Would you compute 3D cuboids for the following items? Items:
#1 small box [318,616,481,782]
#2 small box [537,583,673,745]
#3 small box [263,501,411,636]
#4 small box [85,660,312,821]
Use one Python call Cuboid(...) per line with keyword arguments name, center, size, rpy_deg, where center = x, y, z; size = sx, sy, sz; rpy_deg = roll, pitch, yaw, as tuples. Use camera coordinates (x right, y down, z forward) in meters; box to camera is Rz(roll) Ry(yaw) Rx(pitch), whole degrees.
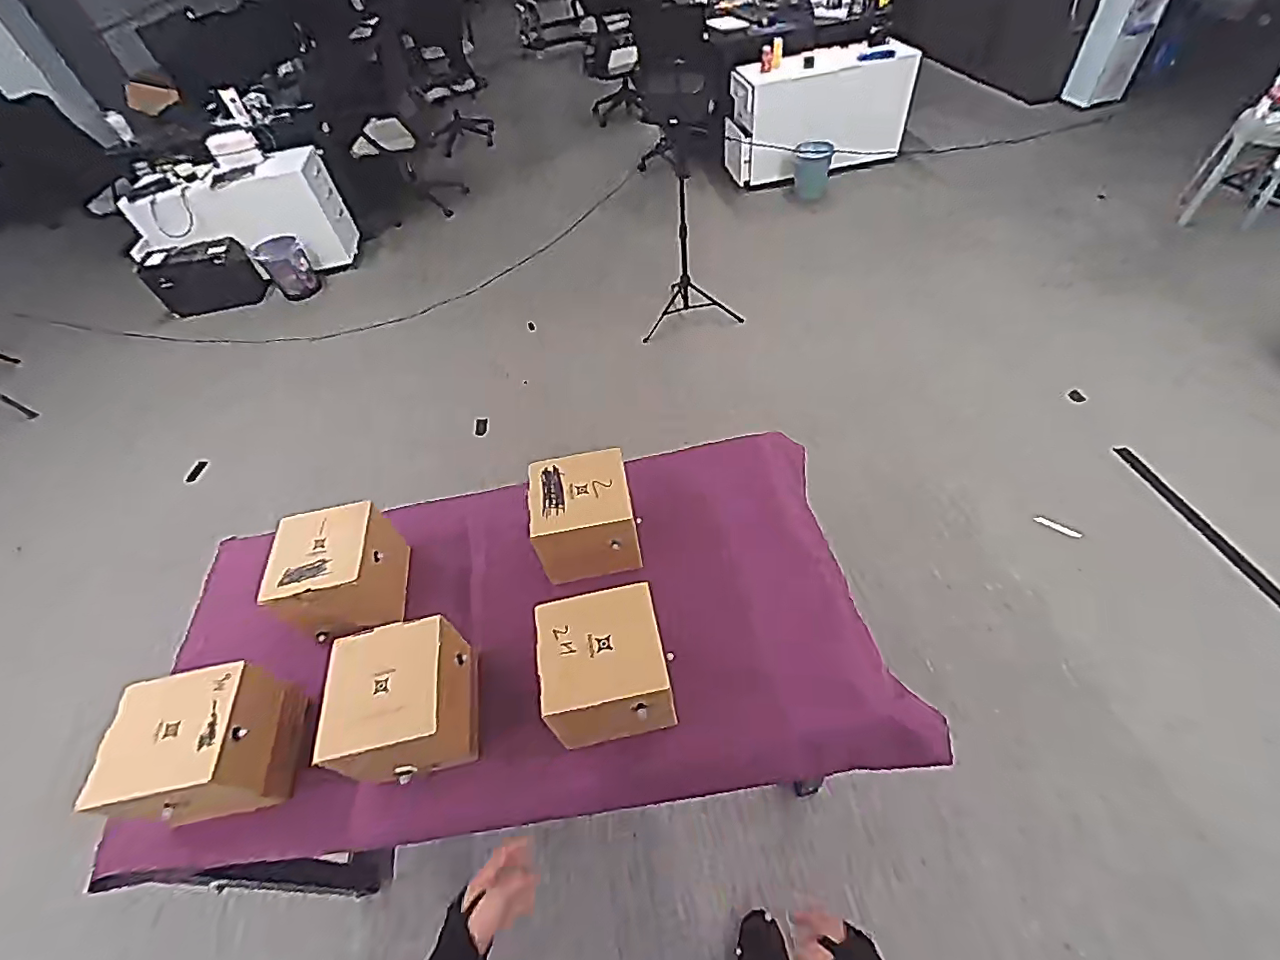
Cuboid(name="small box", center=(-0.352, 0.337, 0.828), size=(0.168, 0.176, 0.179), rpy_deg=(-13, 52, -2))
Cuboid(name="small box", center=(-0.048, 0.284, 0.825), size=(0.179, 0.176, 0.168), rpy_deg=(-12, 49, -1))
Cuboid(name="small box", center=(-0.539, 0.170, 0.992), size=(0.168, 0.176, 0.179), rpy_deg=(-12, 50, -2))
Cuboid(name="small box", center=(-0.642, 0.397, 0.816), size=(0.179, 0.176, 0.168), rpy_deg=(-12, 51, -1))
